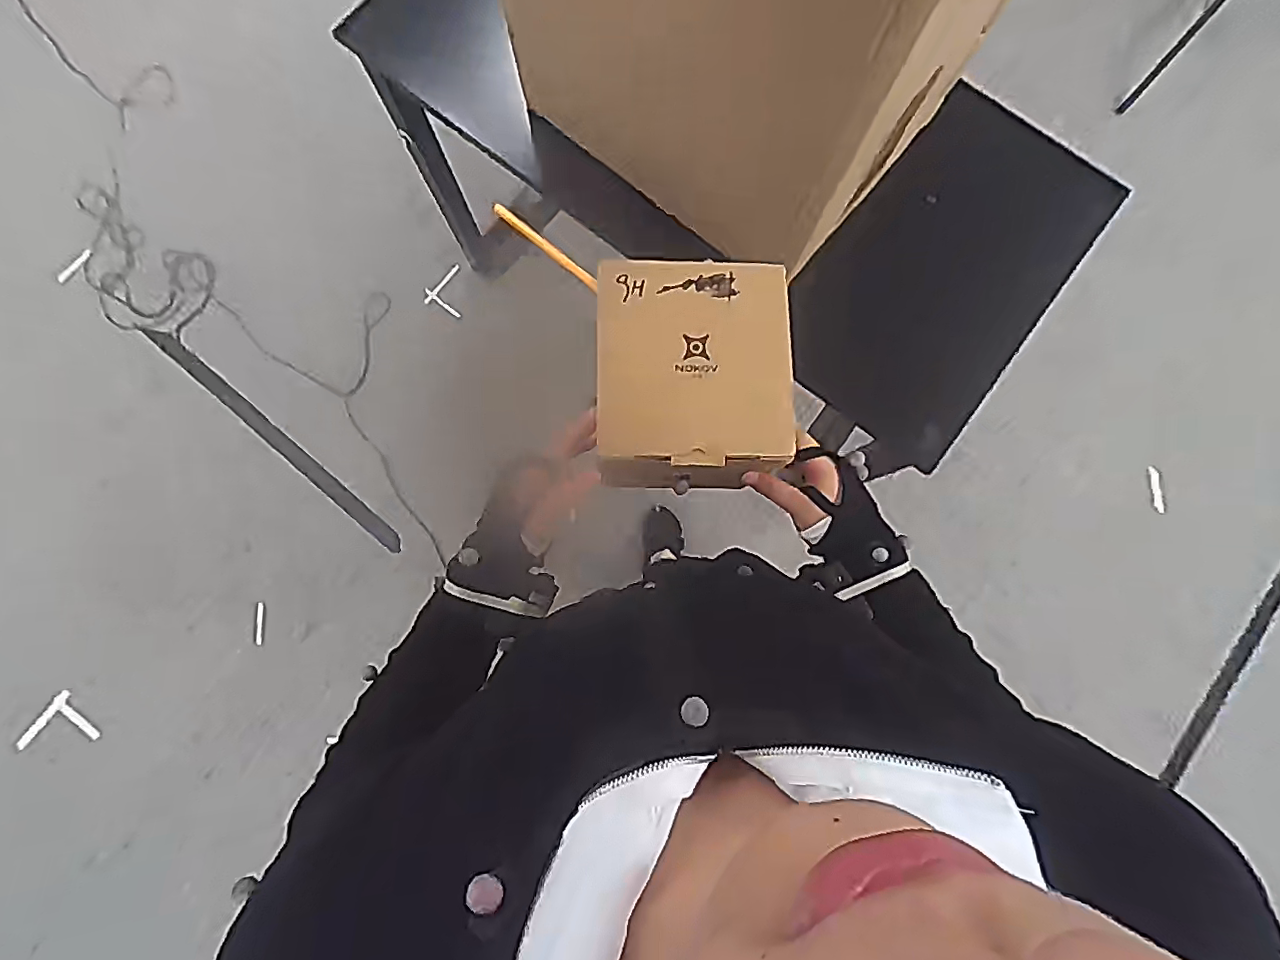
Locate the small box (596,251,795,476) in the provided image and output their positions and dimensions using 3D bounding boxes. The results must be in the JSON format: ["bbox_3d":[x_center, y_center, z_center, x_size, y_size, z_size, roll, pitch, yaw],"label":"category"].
[{"bbox_3d":[0.041,-0.097,0.527,0.168,0.176,0.179,0,83,-4],"label":"small box"}]
